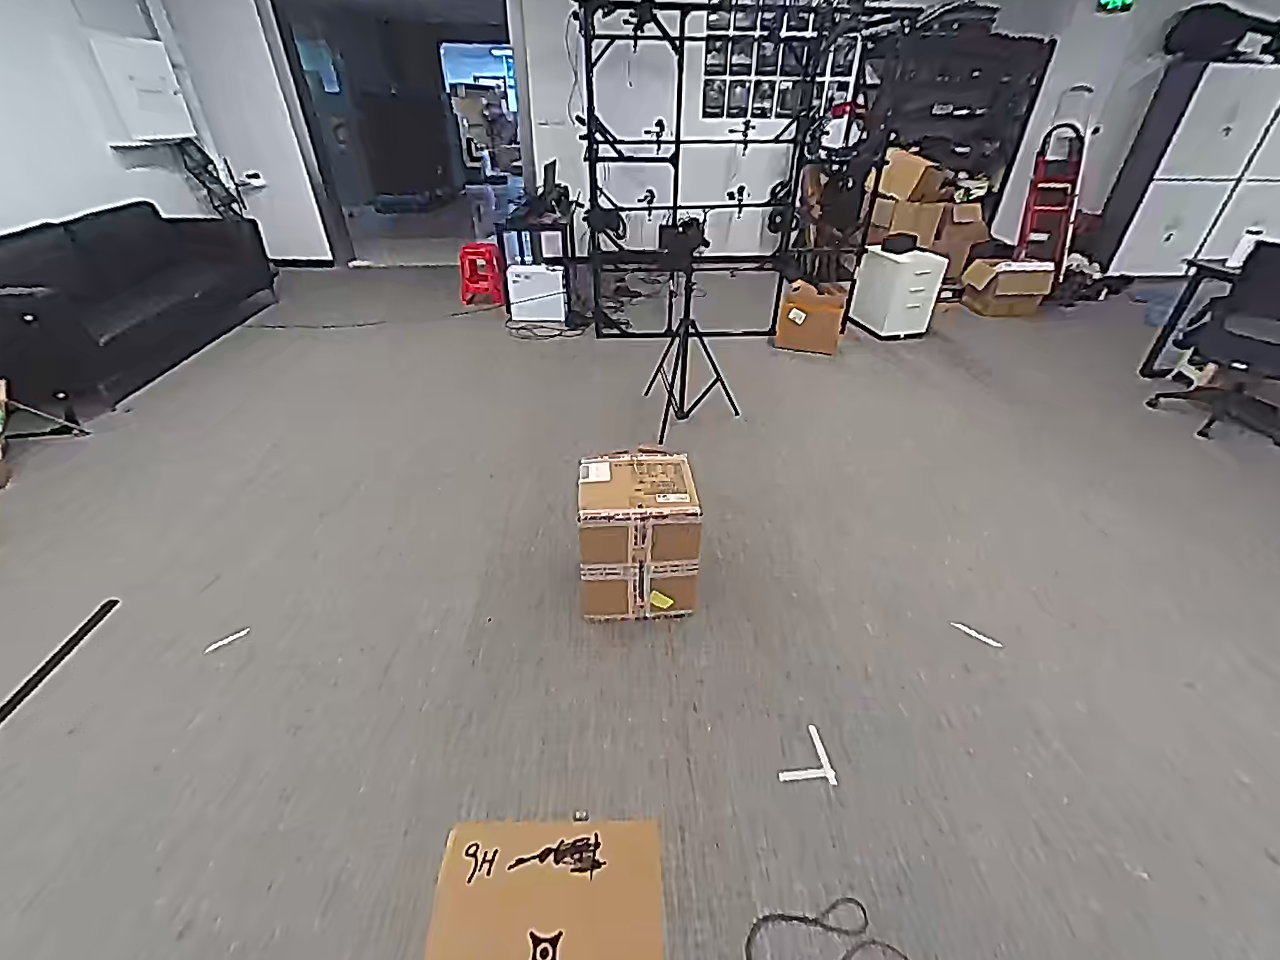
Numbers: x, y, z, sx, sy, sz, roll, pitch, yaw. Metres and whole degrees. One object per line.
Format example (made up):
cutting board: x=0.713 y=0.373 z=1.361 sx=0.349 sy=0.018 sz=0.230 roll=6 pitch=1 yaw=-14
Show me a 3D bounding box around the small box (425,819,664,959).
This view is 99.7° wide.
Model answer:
small box: x=-0.064 y=0.385 z=0.421 sx=0.168 sy=0.176 sz=0.179 roll=-1 pitch=45 yaw=0
